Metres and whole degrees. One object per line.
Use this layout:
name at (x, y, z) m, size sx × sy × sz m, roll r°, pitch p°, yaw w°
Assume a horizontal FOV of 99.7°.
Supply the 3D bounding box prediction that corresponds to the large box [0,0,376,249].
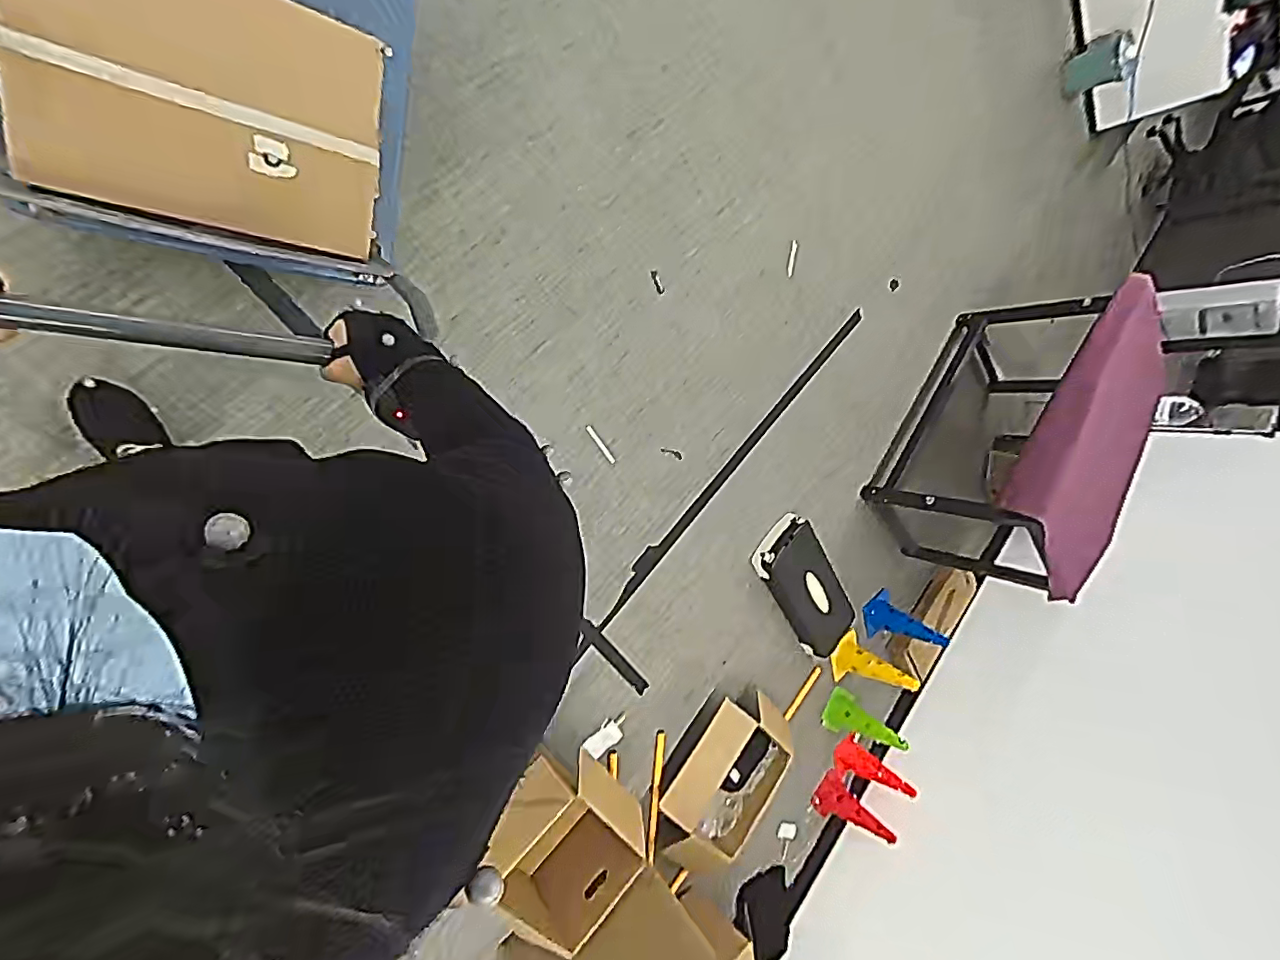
large box at (-0.674, -0.583, 0.853) m, size 0.408 × 0.320 × 0.320 m, roll 1°, pitch 113°, yaw -37°
